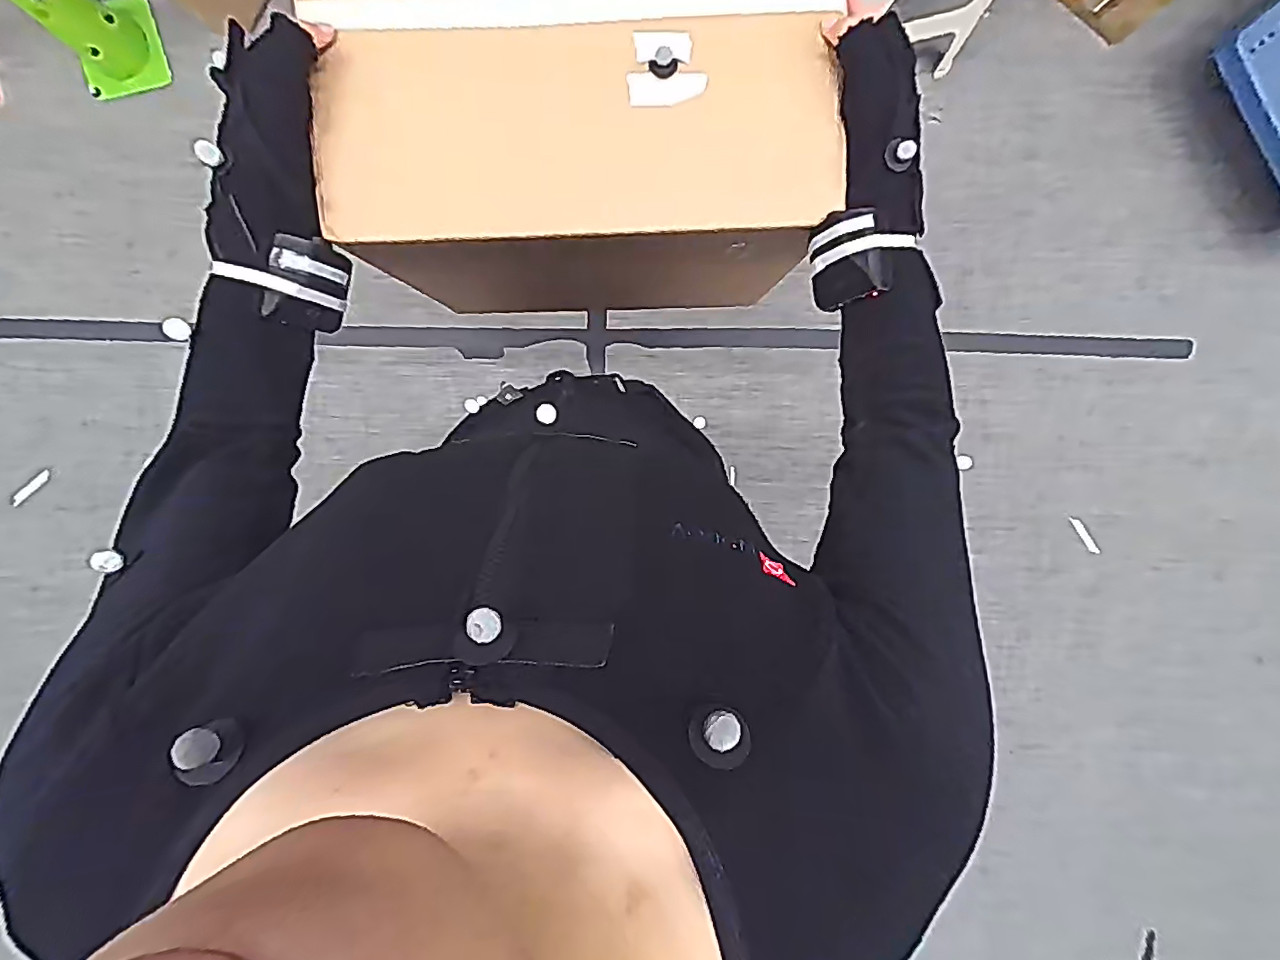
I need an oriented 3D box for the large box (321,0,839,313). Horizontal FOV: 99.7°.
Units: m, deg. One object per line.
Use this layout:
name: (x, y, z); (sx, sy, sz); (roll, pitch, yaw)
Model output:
large box: (-0.049, -0.370, 0.563); (0.408, 0.320, 0.320); (-2, 97, -1)
